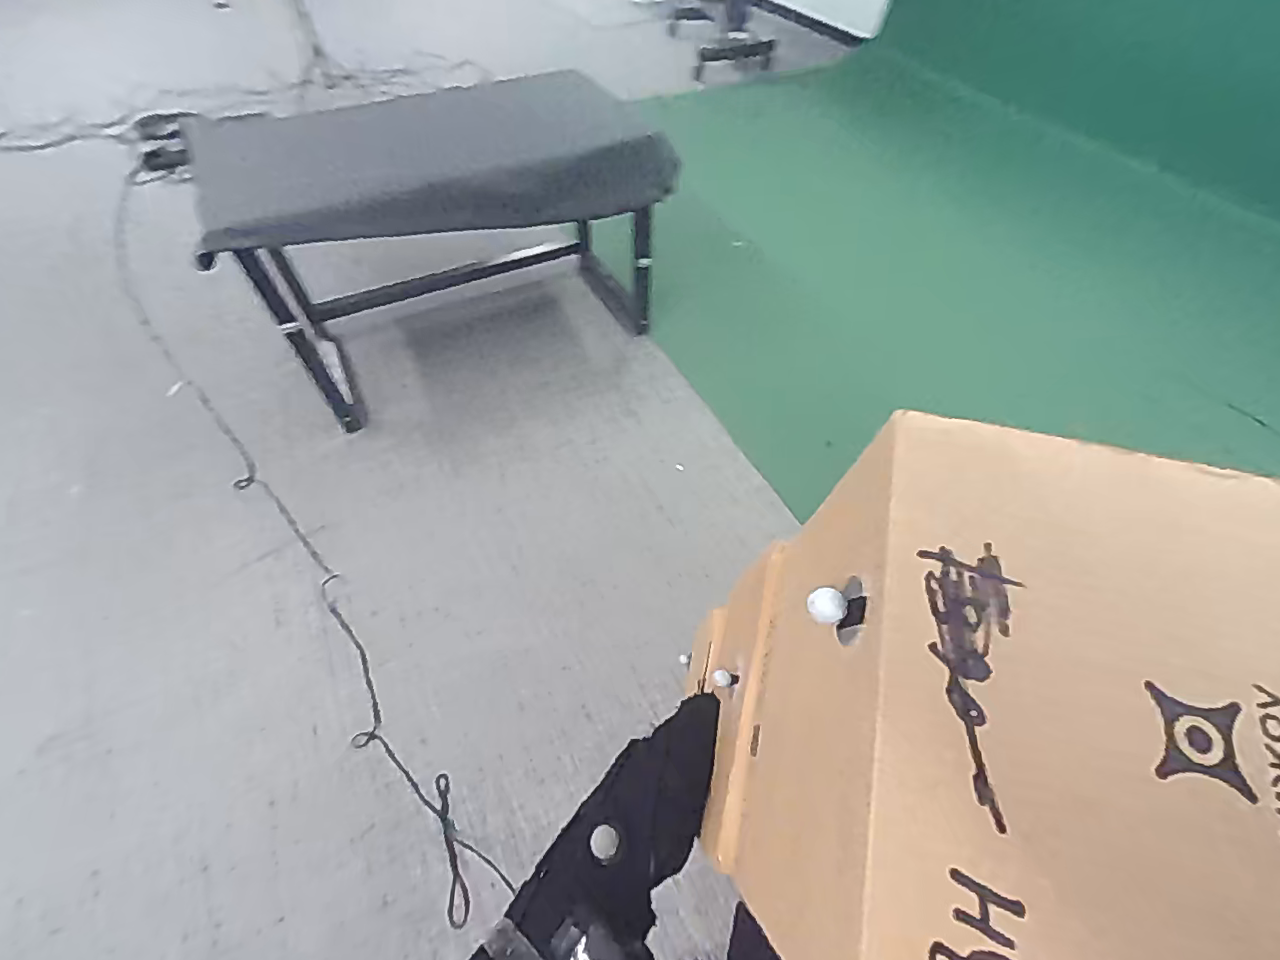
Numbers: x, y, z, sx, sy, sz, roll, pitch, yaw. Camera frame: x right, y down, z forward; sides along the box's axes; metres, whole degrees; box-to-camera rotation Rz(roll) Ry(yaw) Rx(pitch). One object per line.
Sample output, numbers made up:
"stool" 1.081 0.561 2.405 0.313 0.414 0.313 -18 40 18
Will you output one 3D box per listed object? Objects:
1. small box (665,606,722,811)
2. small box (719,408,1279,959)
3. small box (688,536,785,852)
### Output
"small box" 0.126 0.237 0.517 0.179 0.176 0.168 13 65 4
"small box" 0.142 0.099 0.221 0.179 0.176 0.168 13 64 5
"small box" 0.132 0.163 0.372 0.168 0.176 0.179 13 66 6
